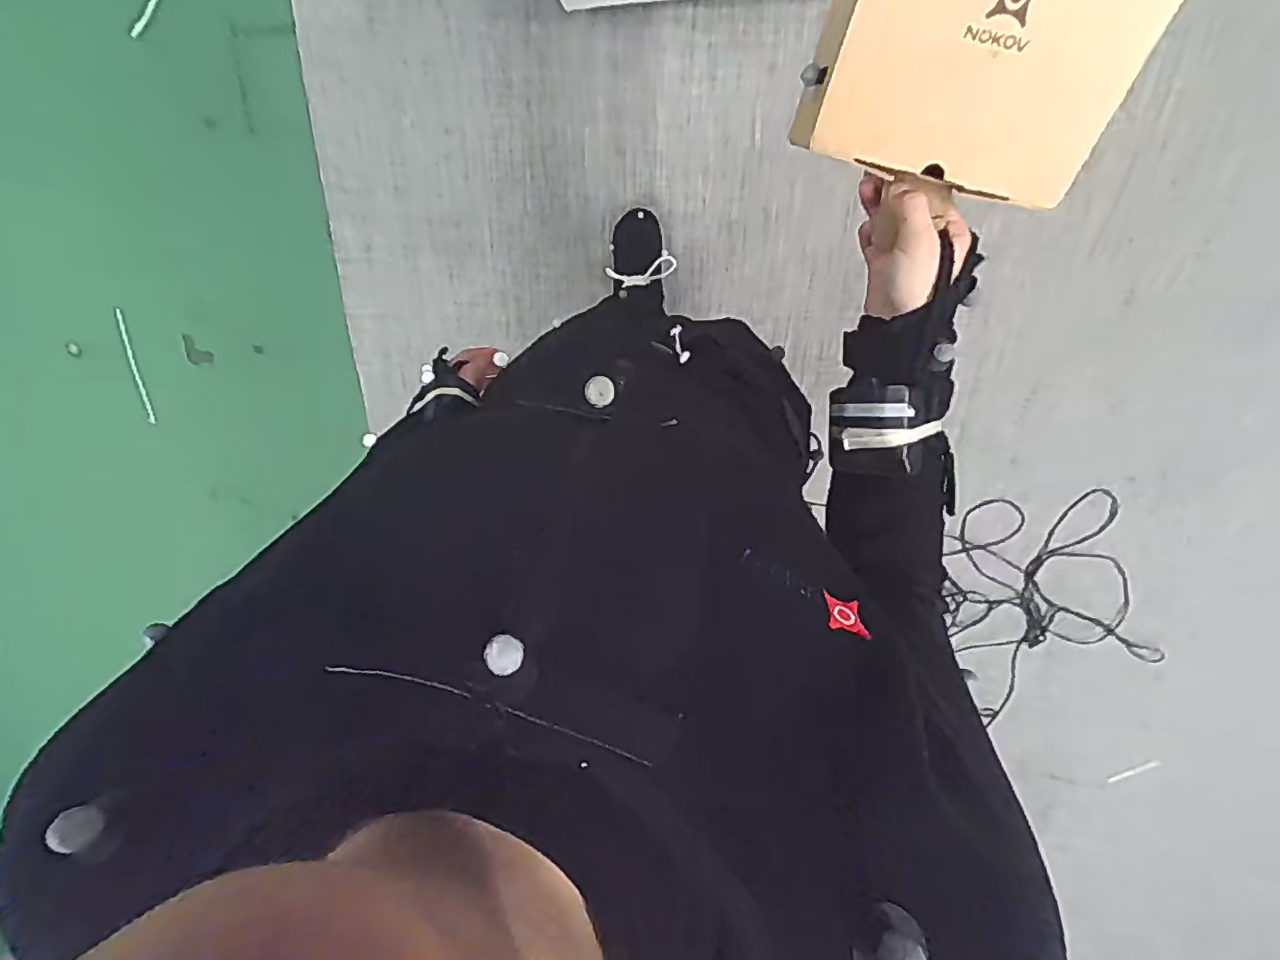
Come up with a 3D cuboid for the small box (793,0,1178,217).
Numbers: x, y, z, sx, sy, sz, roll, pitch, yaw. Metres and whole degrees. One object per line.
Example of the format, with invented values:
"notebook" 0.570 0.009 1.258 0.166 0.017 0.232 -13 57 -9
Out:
"small box" 0.212 -0.302 0.363 0.168 0.176 0.179 14 126 0
